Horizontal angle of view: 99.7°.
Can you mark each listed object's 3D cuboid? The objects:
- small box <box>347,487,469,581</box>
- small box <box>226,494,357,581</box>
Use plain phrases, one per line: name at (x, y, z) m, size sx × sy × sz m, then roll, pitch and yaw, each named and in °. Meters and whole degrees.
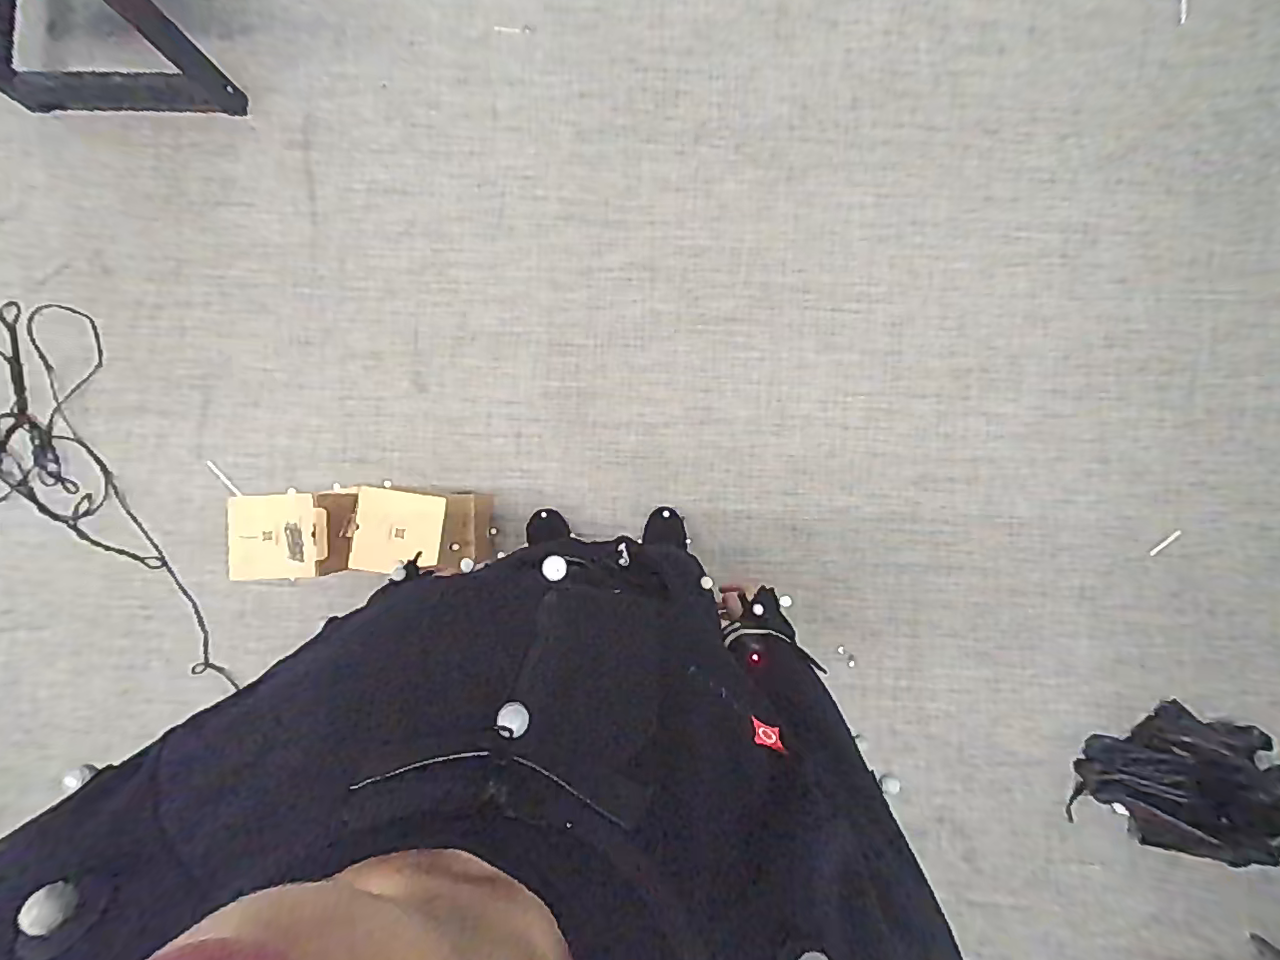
small box at (-0.473, 0.105, 1.130) m, size 0.179 × 0.176 × 0.168 m, roll 8°, pitch 89°, yaw 1°
small box at (-0.712, 0.114, 1.125) m, size 0.179 × 0.176 × 0.168 m, roll -3°, pitch 88°, yaw 1°
